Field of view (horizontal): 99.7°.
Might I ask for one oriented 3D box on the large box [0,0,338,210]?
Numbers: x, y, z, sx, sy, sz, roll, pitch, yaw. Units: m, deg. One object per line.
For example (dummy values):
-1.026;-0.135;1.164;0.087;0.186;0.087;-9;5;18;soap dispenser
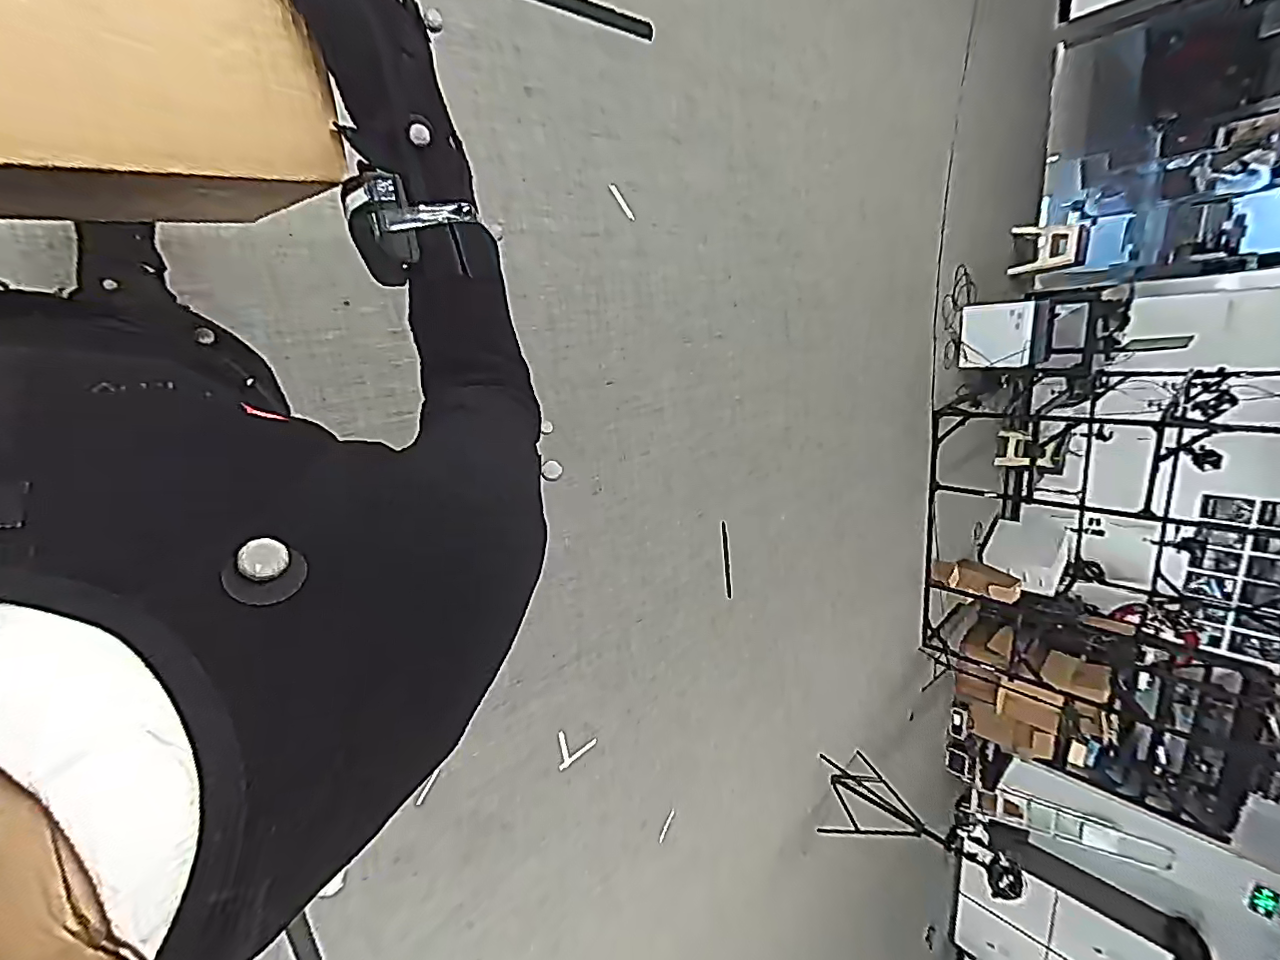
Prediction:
-0.464;-0.333;0.295;0.408;0.320;0.320;-23;121;-40;large box
